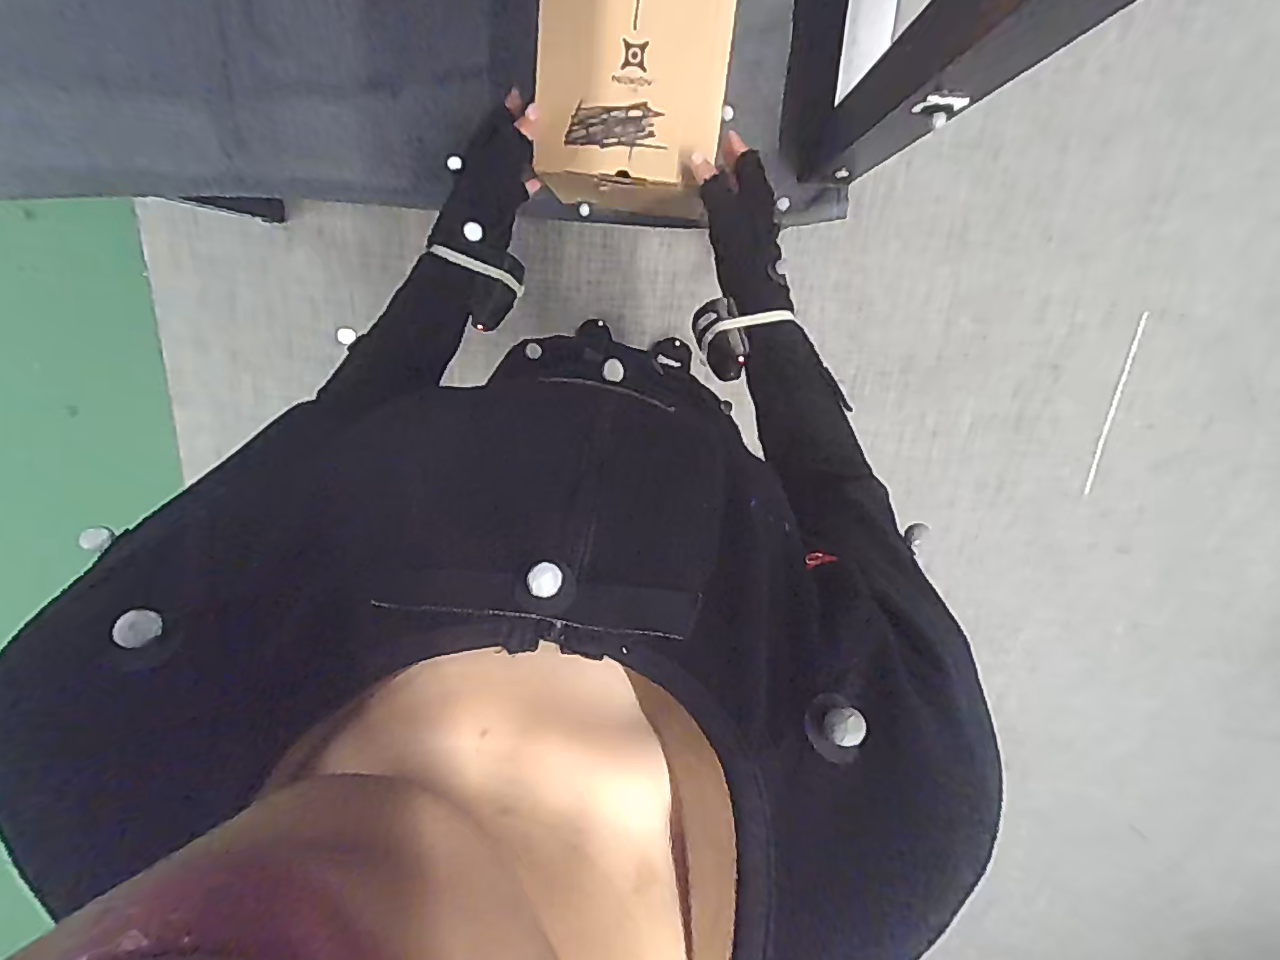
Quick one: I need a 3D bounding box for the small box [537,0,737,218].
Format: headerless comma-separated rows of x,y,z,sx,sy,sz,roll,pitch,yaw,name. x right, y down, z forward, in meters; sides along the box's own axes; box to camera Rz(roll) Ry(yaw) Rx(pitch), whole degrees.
-0.003,-0.381,0.555,0.168,0.176,0.179,7,106,-1,small box
